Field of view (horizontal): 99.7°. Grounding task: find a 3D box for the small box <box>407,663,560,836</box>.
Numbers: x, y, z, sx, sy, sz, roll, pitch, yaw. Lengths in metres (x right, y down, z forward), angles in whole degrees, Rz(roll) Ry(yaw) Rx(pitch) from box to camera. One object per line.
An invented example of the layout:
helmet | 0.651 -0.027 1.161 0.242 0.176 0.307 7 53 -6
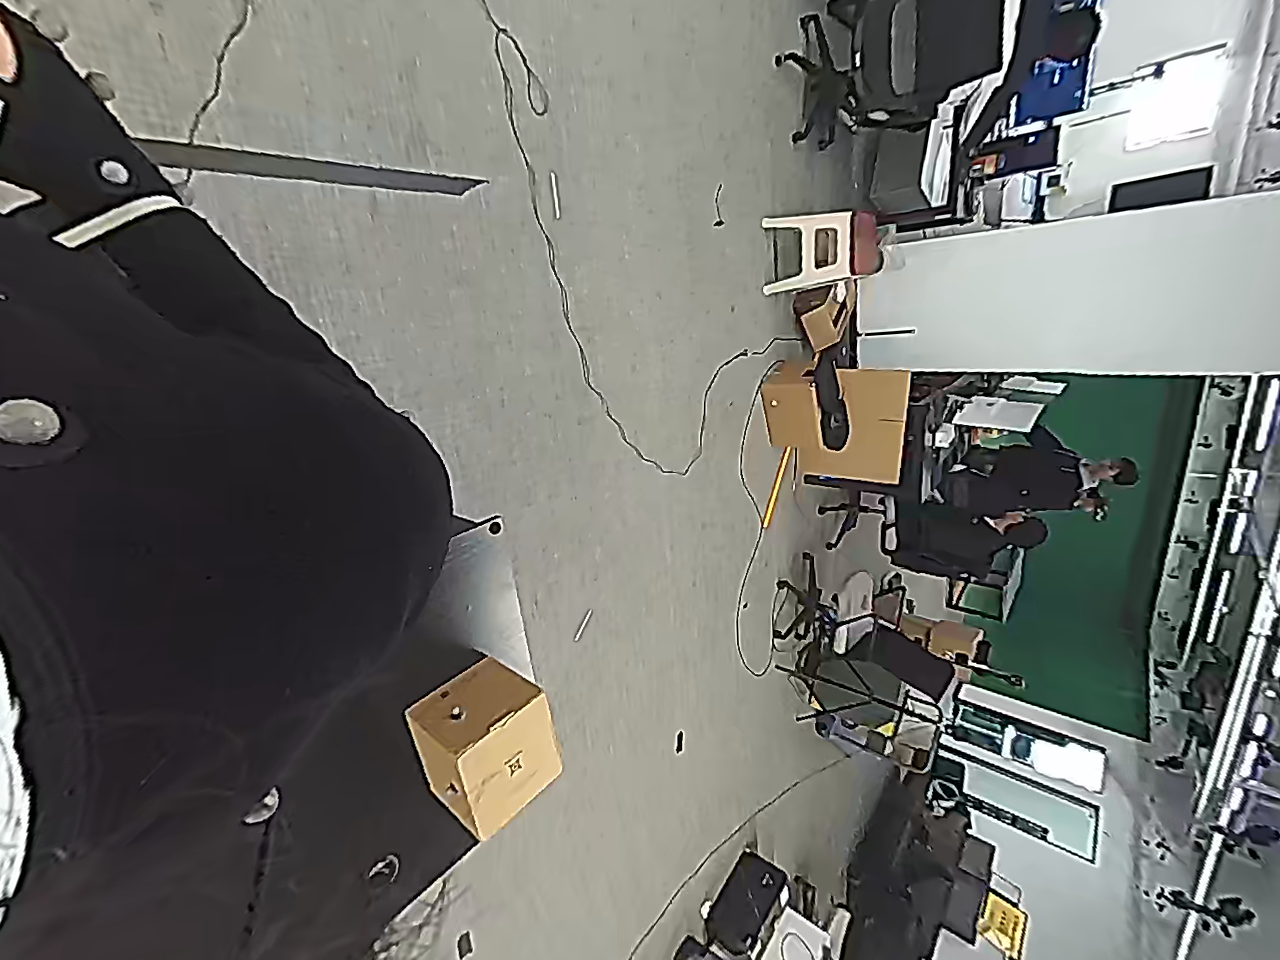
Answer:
small box | -0.263 0.433 0.909 0.168 0.176 0.179 -27 118 -42
